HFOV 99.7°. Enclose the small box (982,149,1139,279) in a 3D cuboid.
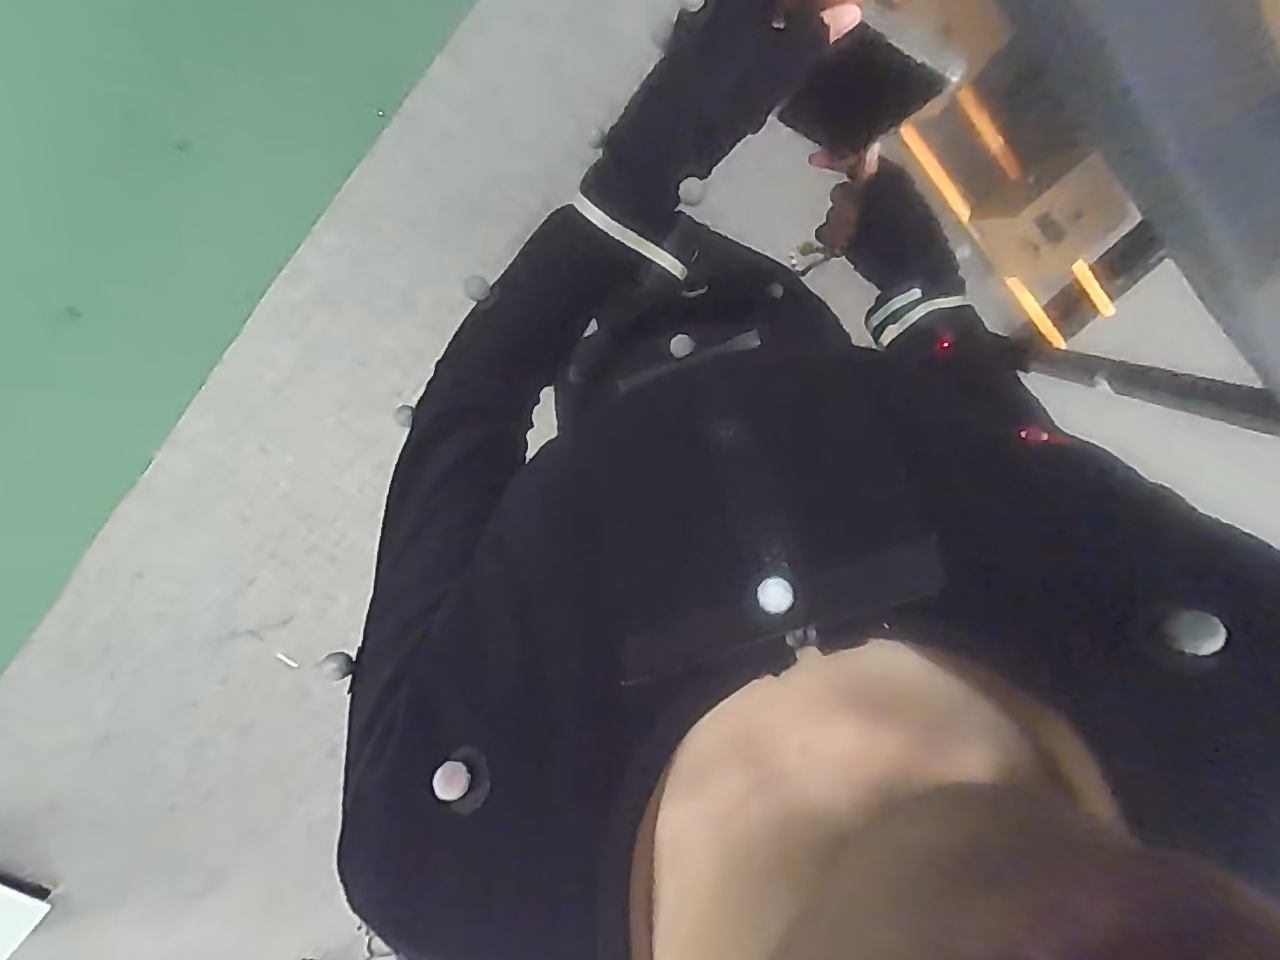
[{"bbox_3d":[0.860,-0.545,1.131,0.179,0.176,0.168,-41,108,13],"label":"small box"}]
